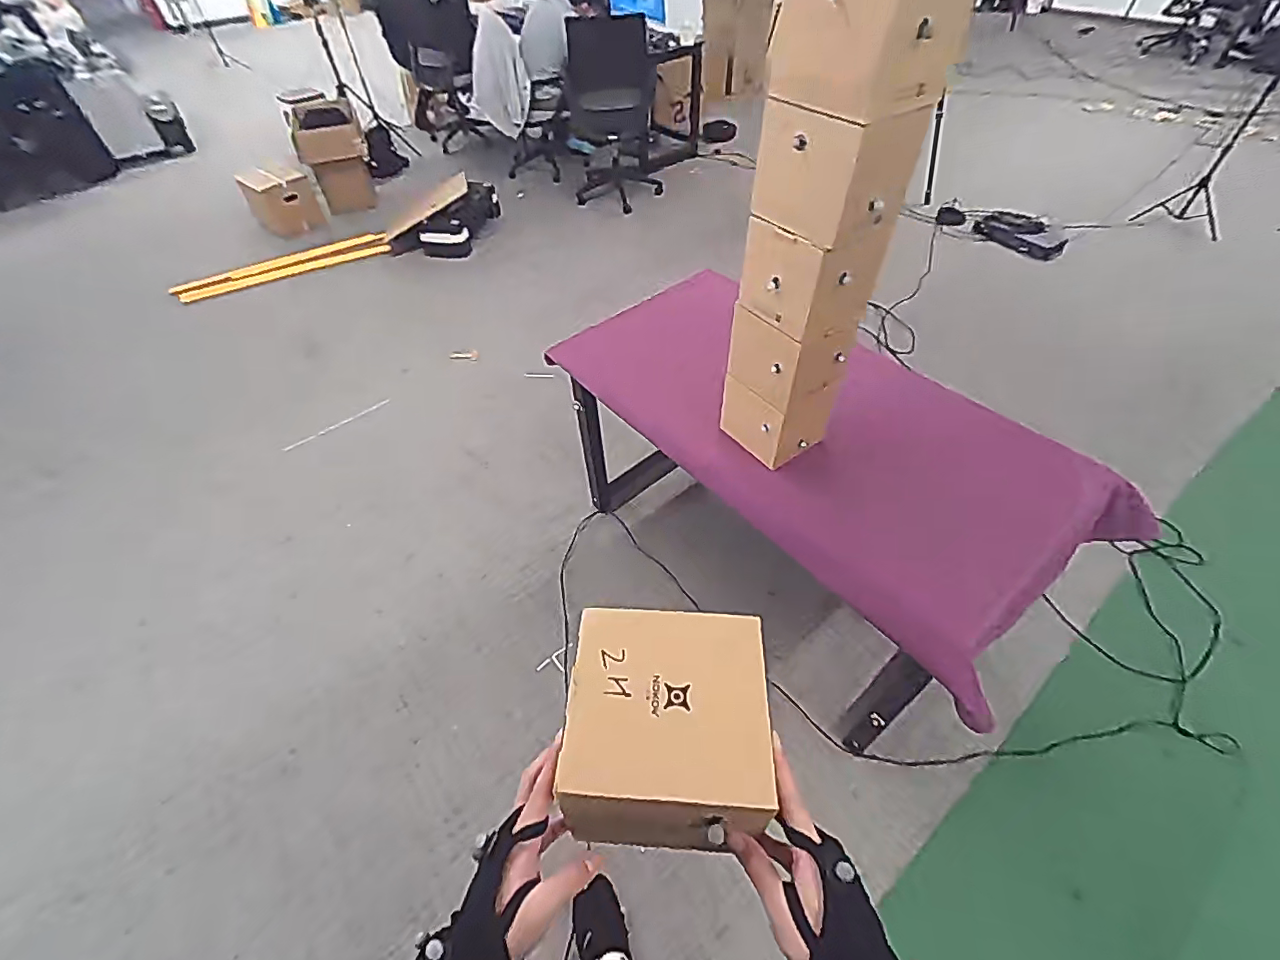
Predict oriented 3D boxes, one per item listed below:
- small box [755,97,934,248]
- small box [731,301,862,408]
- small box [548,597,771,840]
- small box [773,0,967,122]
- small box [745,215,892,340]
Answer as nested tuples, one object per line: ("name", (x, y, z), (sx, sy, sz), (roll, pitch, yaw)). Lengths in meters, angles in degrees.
("small box", (0.299, -0.484, 0.832), (0.168, 0.176, 0.179), (-31, 56, -23))
("small box", (0.301, -0.265, 1.076), (0.168, 0.176, 0.179), (-29, 54, -21))
("small box", (0.022, 0.235, 0.529), (0.179, 0.176, 0.168), (2, 45, 4))
("small box", (0.301, -0.588, 0.708), (0.168, 0.176, 0.179), (-30, 54, -22))
("small box", (0.302, -0.375, 0.956), (0.179, 0.176, 0.168), (-29, 55, -21))
